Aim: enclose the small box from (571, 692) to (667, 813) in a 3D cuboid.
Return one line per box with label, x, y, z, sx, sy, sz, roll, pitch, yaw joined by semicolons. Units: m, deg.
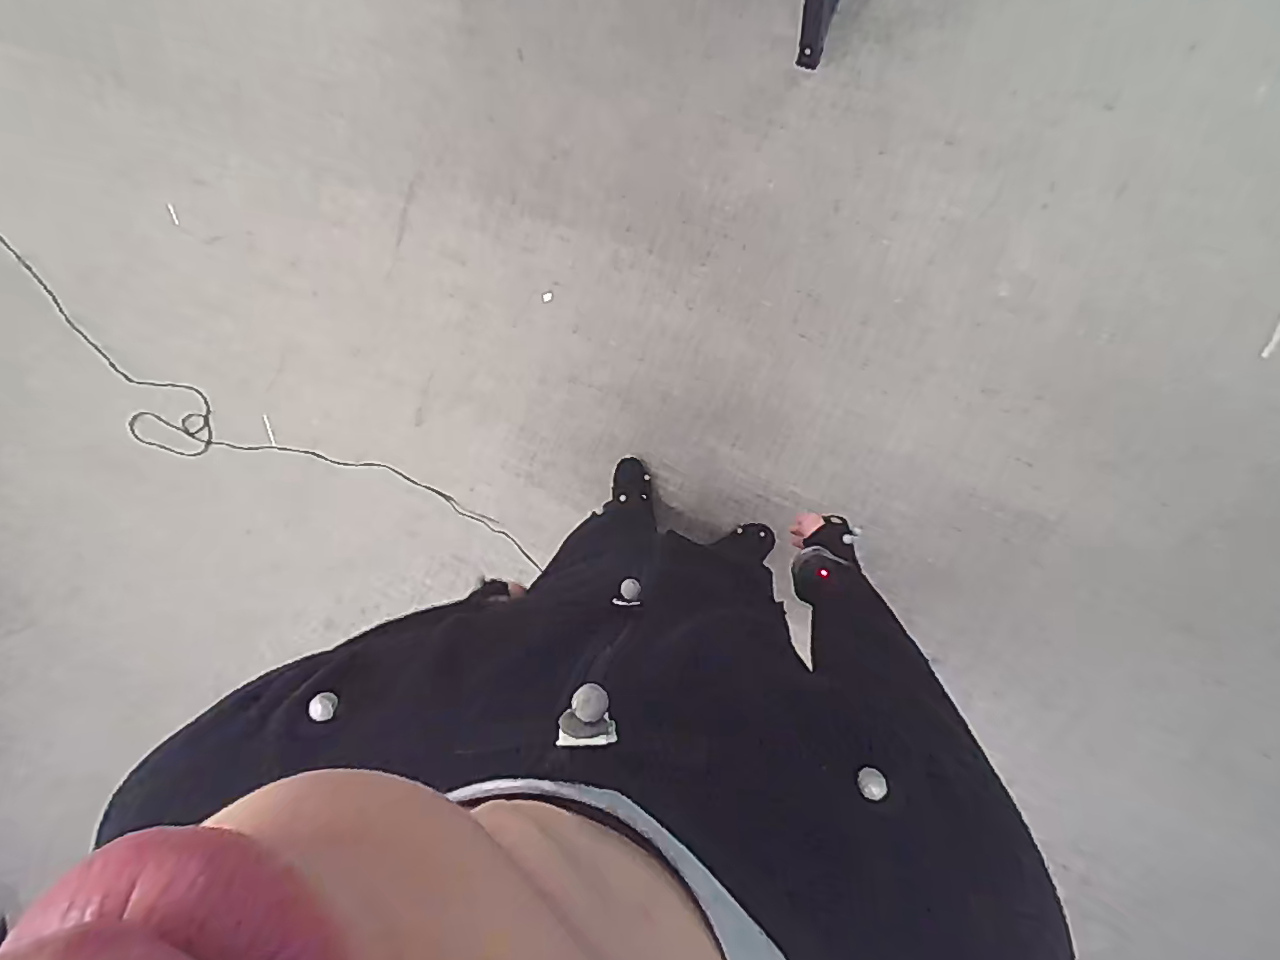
small box;-0.044;0.663;1.338;0.168;0.176;0.179;24;94;10
